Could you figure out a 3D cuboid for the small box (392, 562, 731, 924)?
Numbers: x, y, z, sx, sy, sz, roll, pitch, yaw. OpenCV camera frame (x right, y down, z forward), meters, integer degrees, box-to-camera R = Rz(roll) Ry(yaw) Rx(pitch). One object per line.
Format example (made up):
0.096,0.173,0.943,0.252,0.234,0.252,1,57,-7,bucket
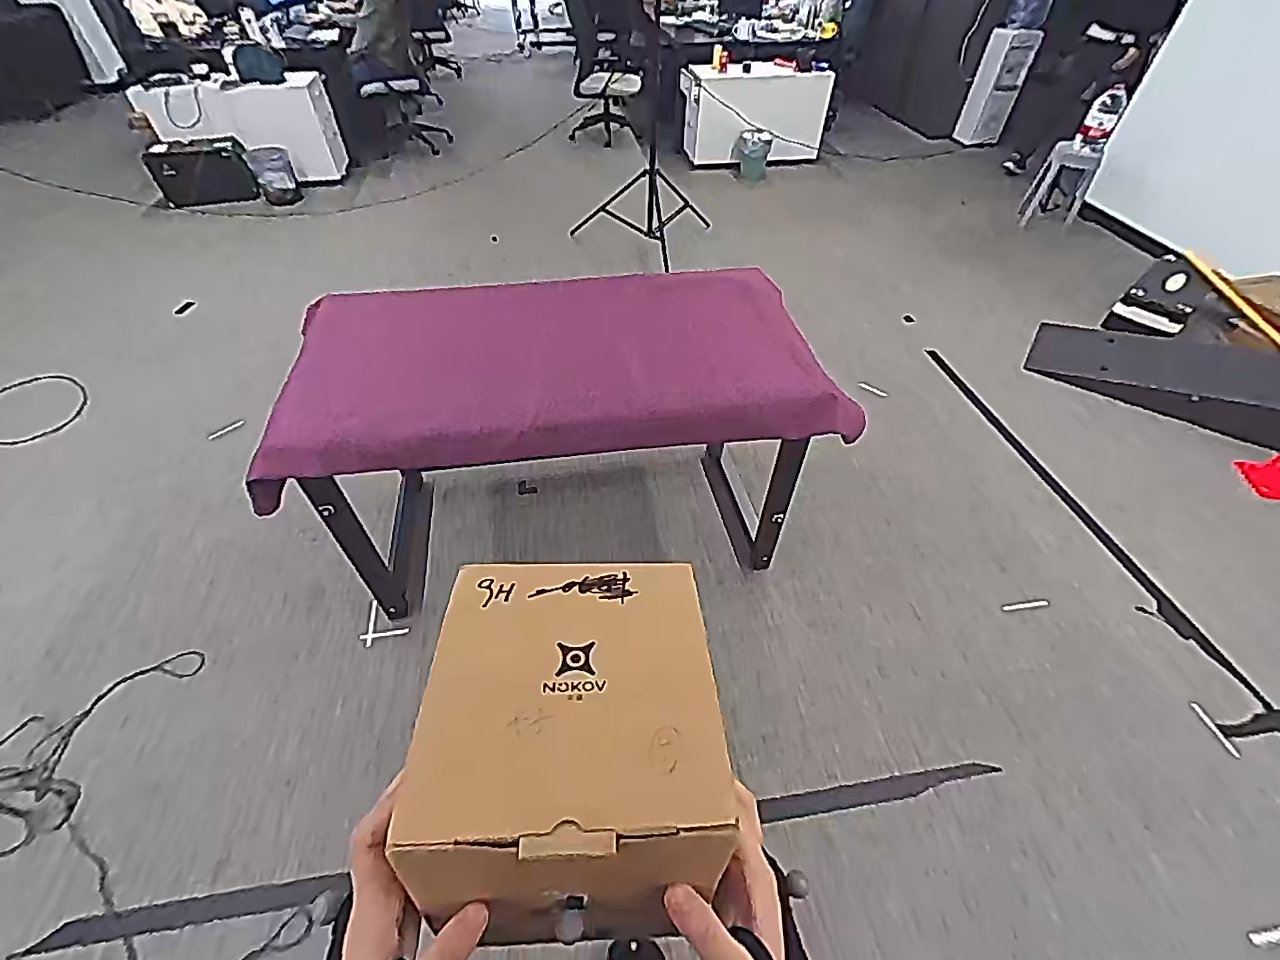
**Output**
-0.043,0.177,0.370,0.168,0.176,0.179,1,38,-5,small box
